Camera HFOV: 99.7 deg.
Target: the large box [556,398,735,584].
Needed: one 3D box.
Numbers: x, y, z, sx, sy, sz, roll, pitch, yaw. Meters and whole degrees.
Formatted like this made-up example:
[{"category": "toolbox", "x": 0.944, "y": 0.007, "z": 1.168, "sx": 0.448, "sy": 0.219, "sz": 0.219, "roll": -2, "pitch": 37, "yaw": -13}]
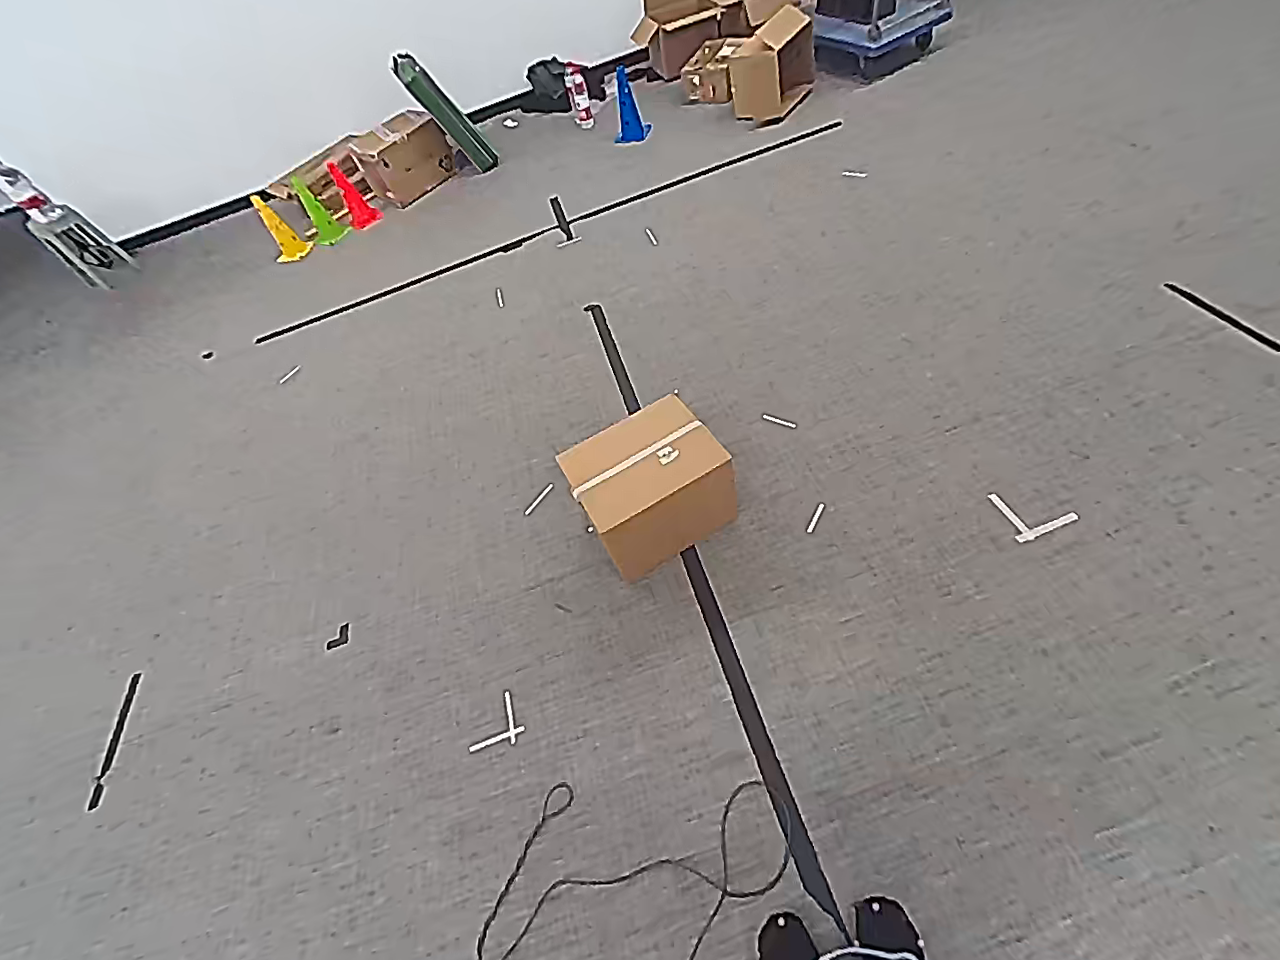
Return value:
[{"category": "large box", "x": 0.025, "y": 0.036, "z": 1.605, "sx": 0.408, "sy": 0.320, "sz": 0.320, "roll": -29, "pitch": 54, "yaw": -8}]
